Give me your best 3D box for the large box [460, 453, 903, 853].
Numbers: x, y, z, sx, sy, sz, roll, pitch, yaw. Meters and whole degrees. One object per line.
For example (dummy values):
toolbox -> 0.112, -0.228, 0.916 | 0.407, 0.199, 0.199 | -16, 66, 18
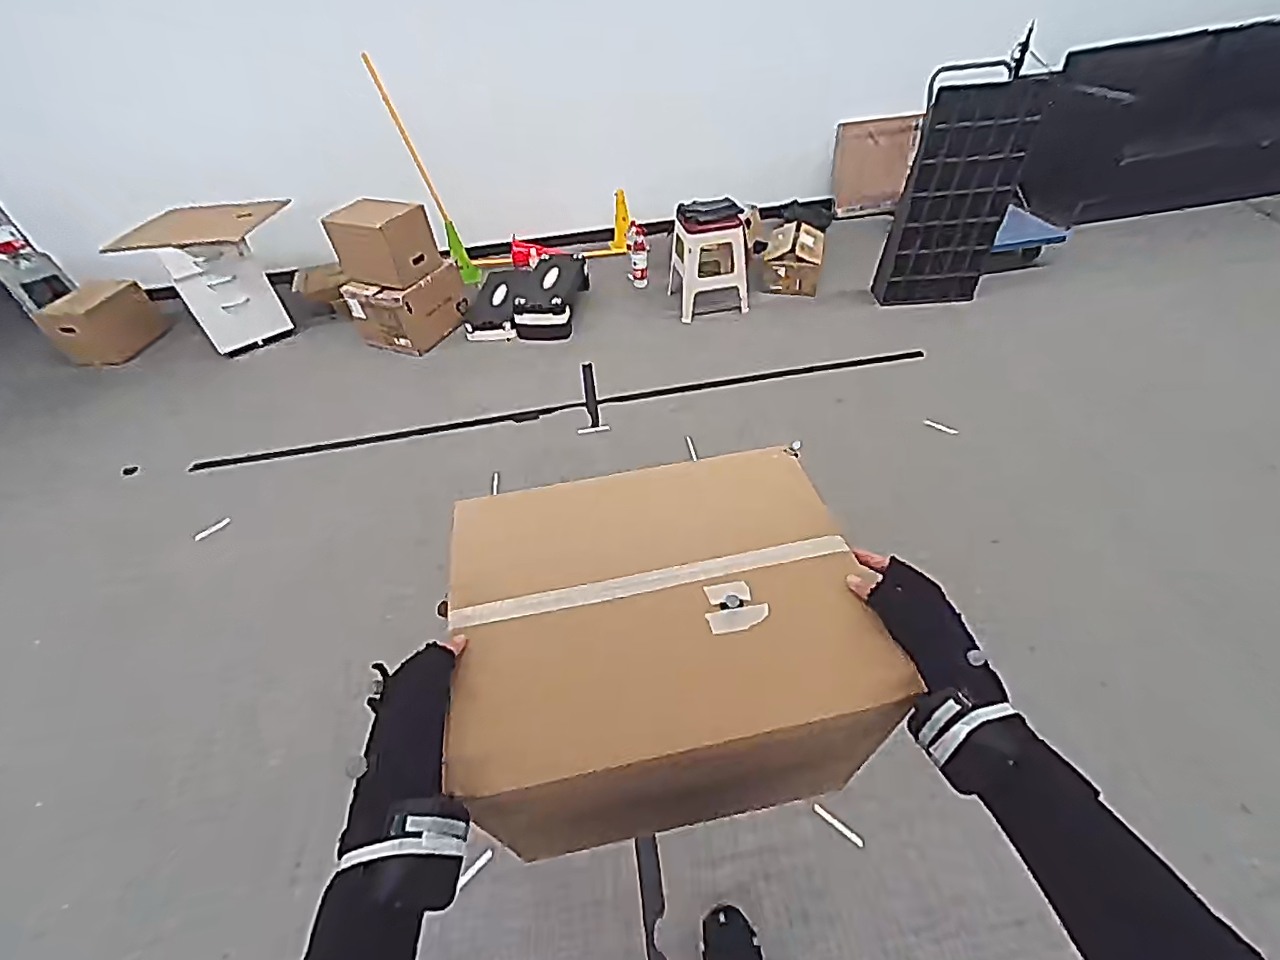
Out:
large box -> 0.020, 0.210, 0.669 | 0.408, 0.320, 0.320 | -10, 49, -6
